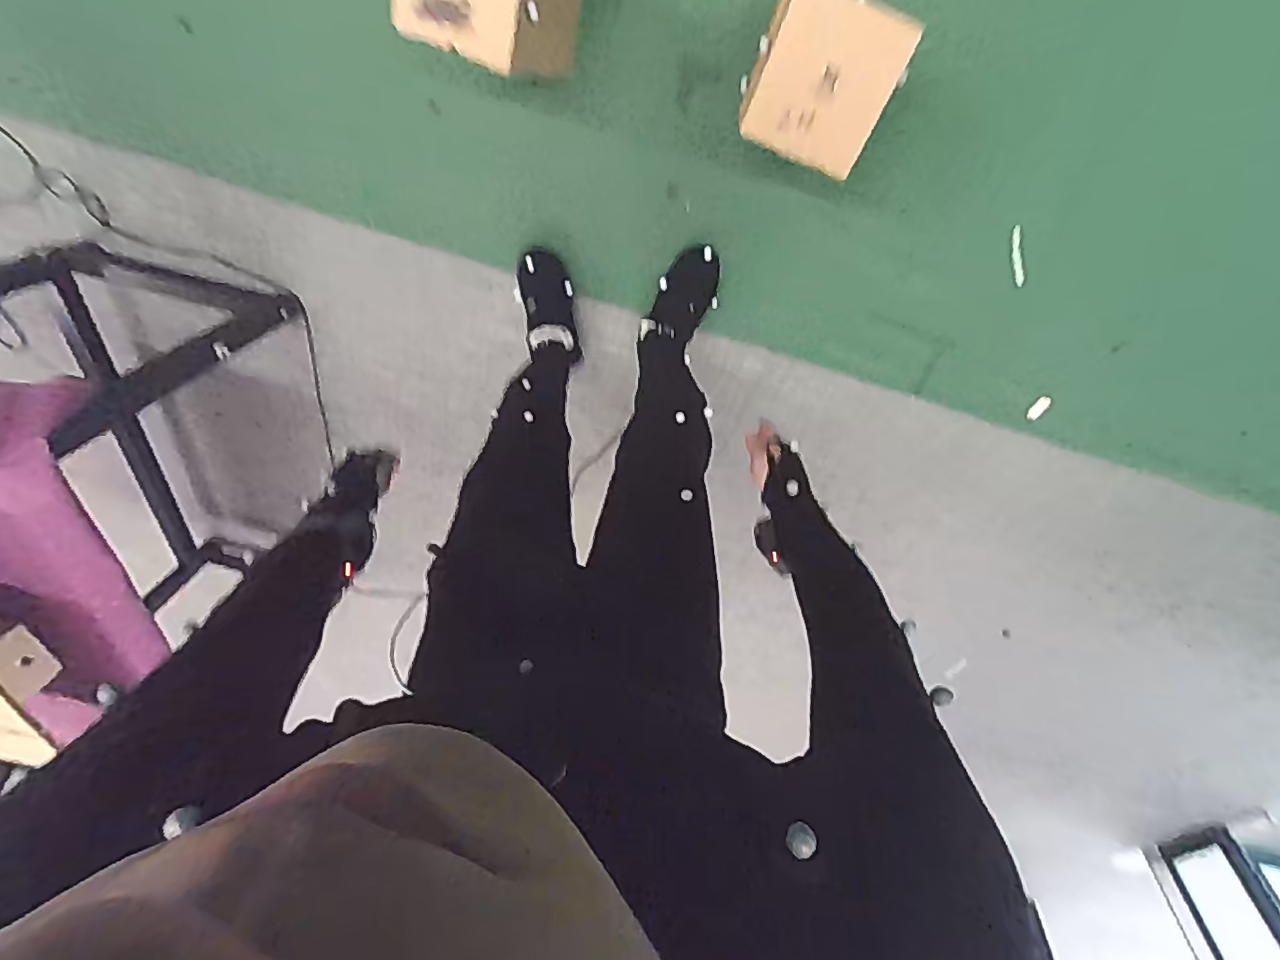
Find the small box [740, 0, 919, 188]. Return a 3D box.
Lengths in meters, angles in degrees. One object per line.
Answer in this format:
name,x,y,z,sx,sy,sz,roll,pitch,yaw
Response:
small box,0.250,-0.551,0.765,0.168,0.176,0.179,21,129,-6

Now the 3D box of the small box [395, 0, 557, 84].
small box,-0.218,-0.682,0.750,0.168,0.176,0.179,19,127,-4
